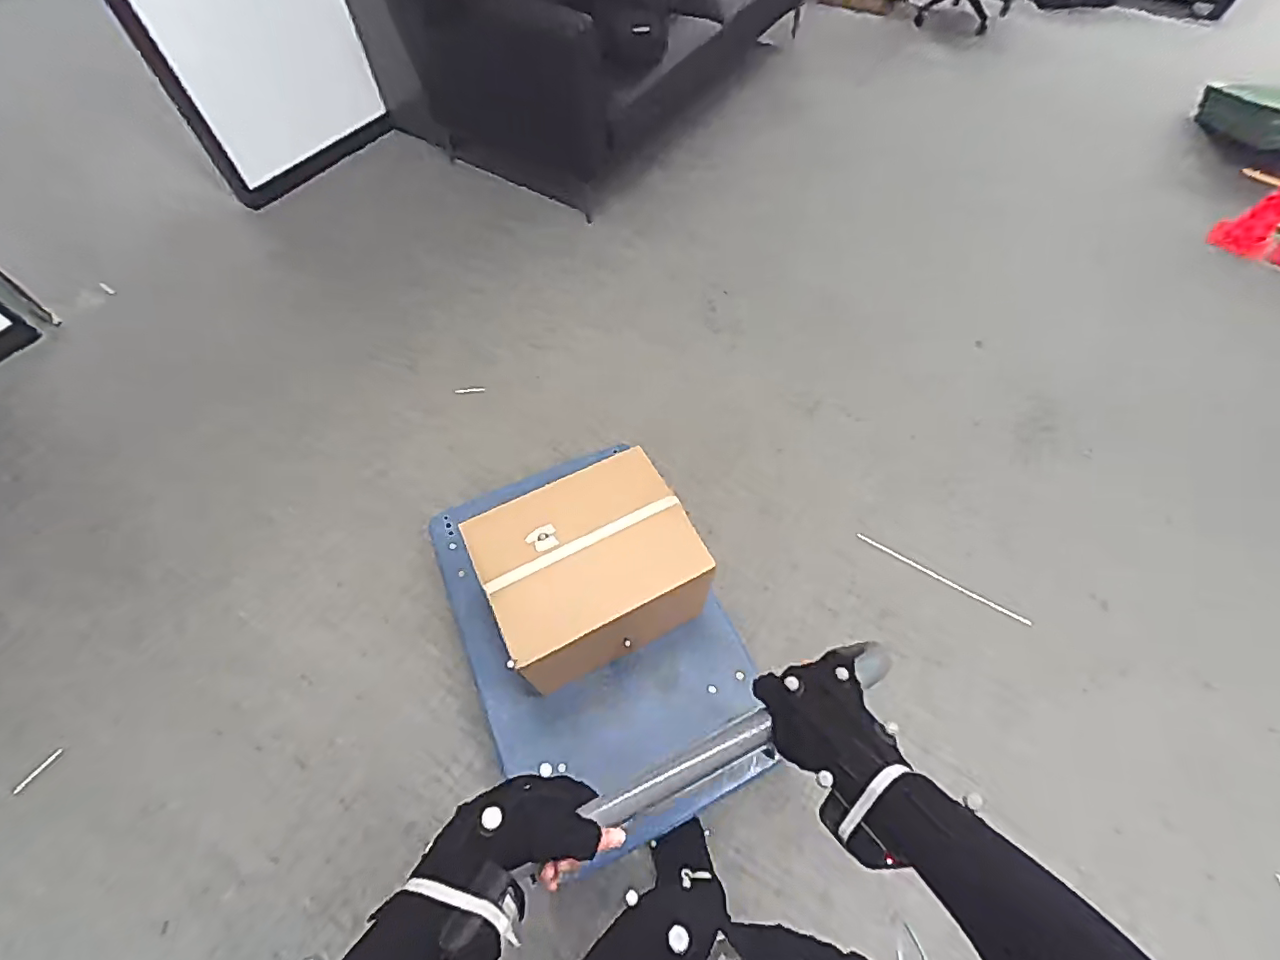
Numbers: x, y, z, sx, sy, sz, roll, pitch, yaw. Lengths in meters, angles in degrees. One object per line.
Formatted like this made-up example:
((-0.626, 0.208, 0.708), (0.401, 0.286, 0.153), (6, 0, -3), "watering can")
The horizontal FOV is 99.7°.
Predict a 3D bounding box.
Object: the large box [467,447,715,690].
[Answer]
((-0.097, 0.199, 1.176), (0.408, 0.320, 0.320), (-26, 63, -13), "large box")
